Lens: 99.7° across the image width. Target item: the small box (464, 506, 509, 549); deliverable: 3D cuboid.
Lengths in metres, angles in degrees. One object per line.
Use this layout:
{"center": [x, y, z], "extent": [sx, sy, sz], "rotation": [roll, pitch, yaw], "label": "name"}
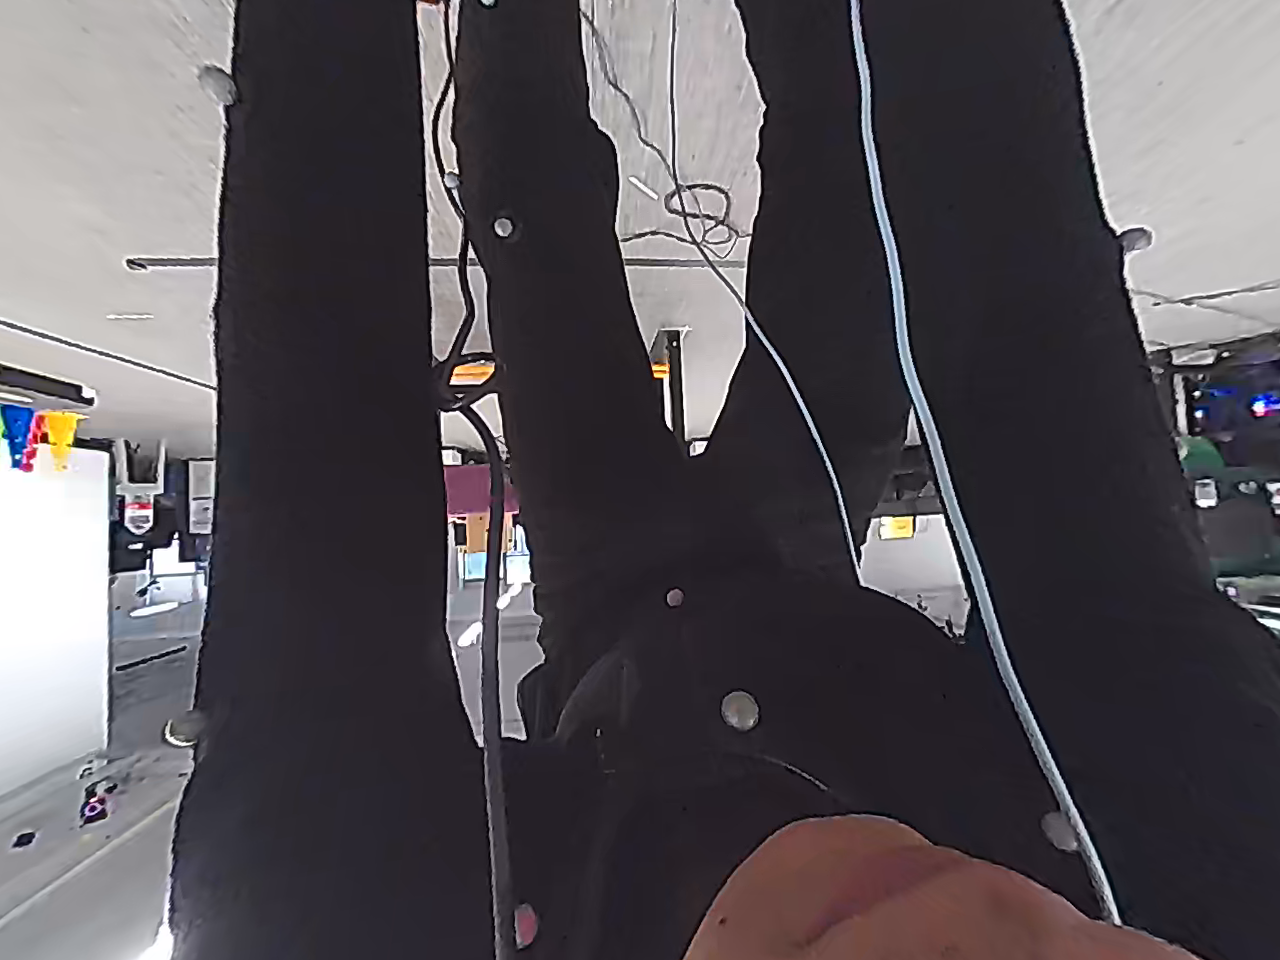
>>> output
{"center": [-0.662, 0.204, 2.340], "extent": [0.168, 0.176, 0.179], "rotation": [-2, 178, -7], "label": "small box"}
